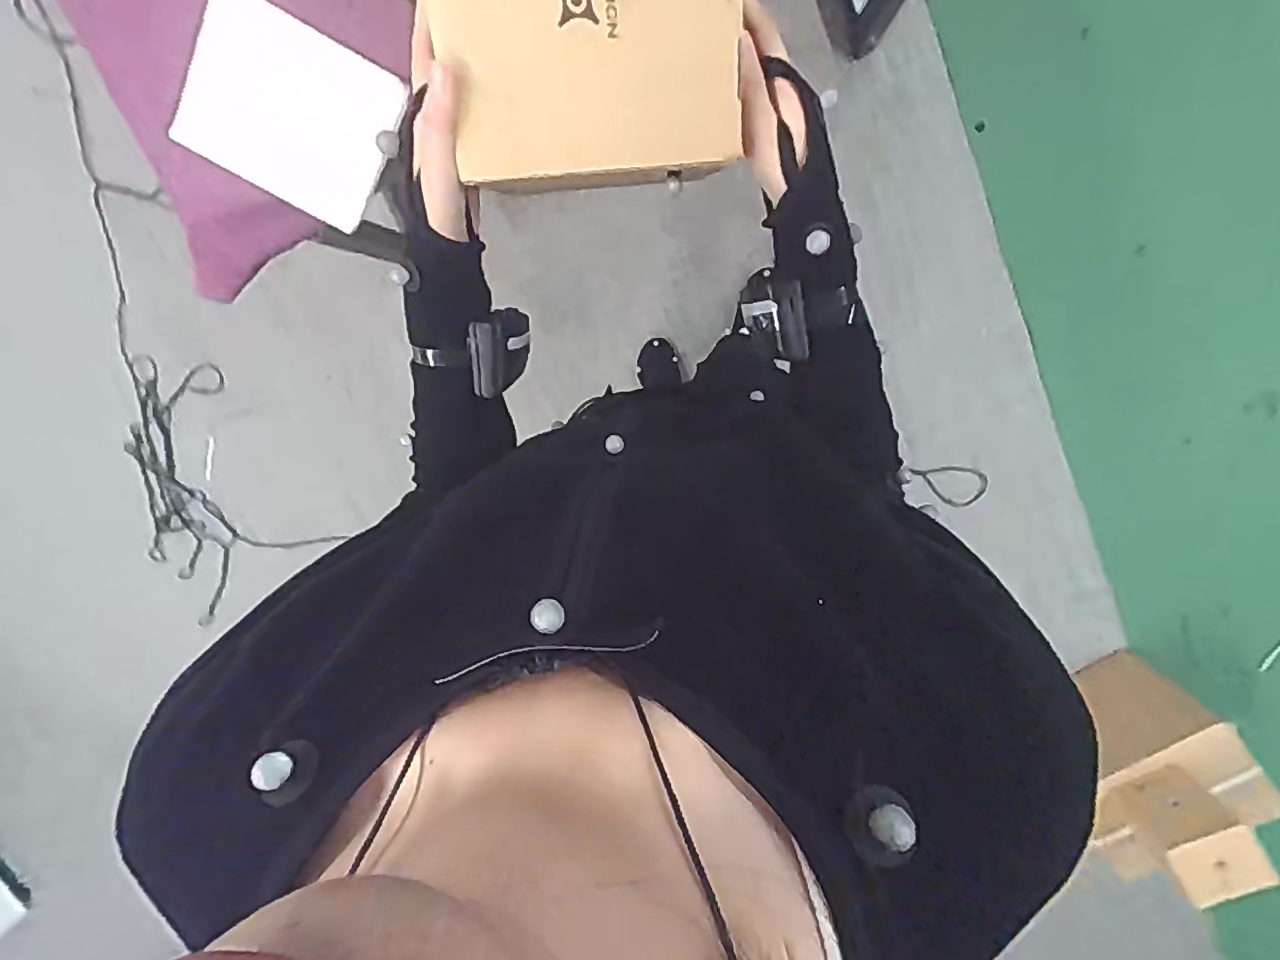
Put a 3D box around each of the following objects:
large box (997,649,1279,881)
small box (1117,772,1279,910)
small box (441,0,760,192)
[{"bbox_3d":[1.291,0.740,1.443,0.408,0.320,0.320,-38,99,11],"label":"large box"},{"bbox_3d":[1.231,0.790,1.205,0.168,0.176,0.179,-32,99,13],"label":"small box"},{"bbox_3d":[-0.026,-0.296,0.363,0.179,0.176,0.168,-6,115,-3],"label":"small box"}]
